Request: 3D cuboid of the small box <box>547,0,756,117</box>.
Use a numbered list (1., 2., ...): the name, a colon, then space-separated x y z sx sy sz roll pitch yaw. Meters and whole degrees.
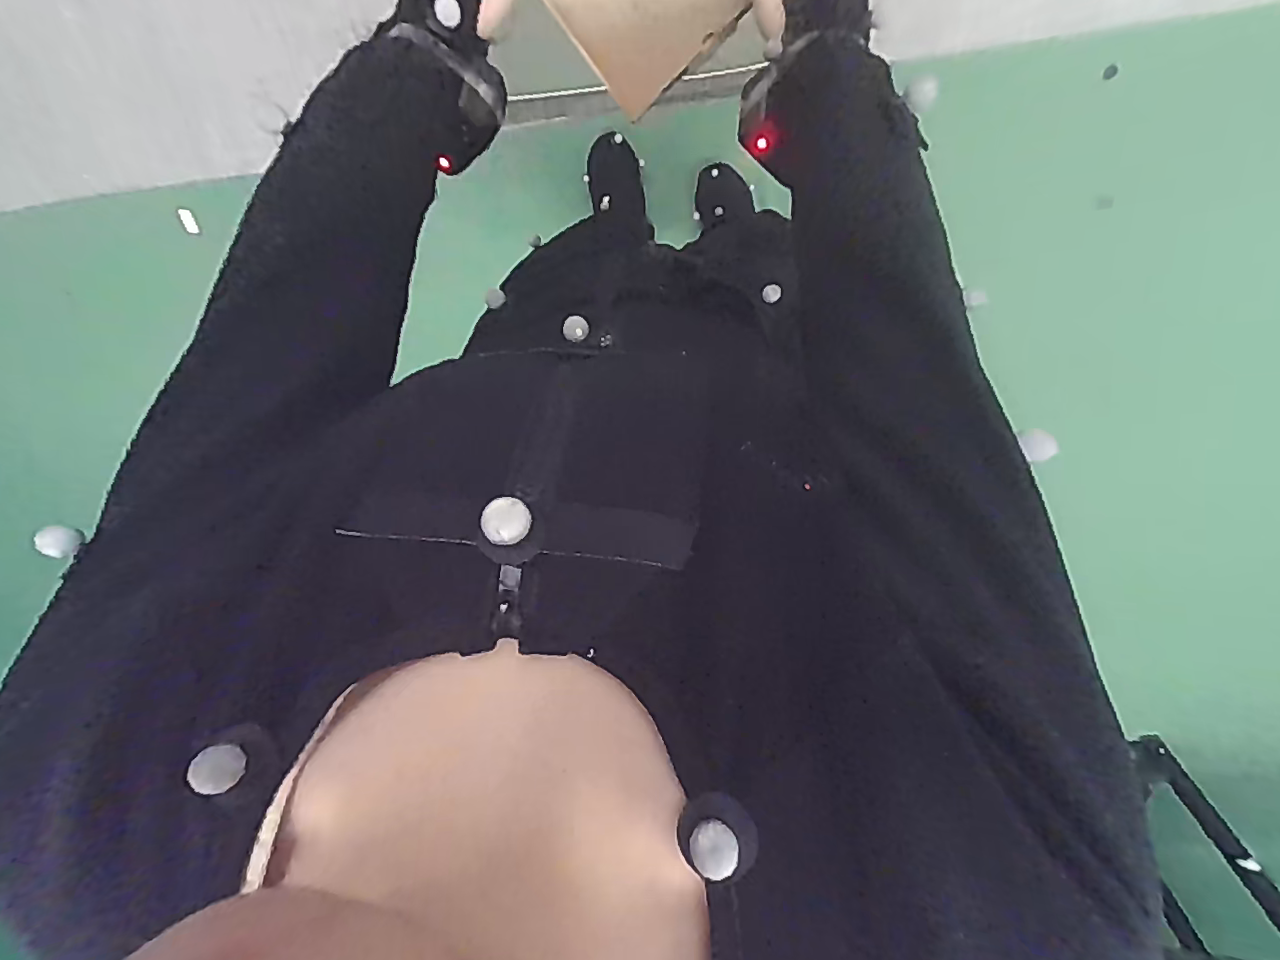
1. small box: 0.002 -0.448 0.441 0.168 0.176 0.179 -32 124 26
